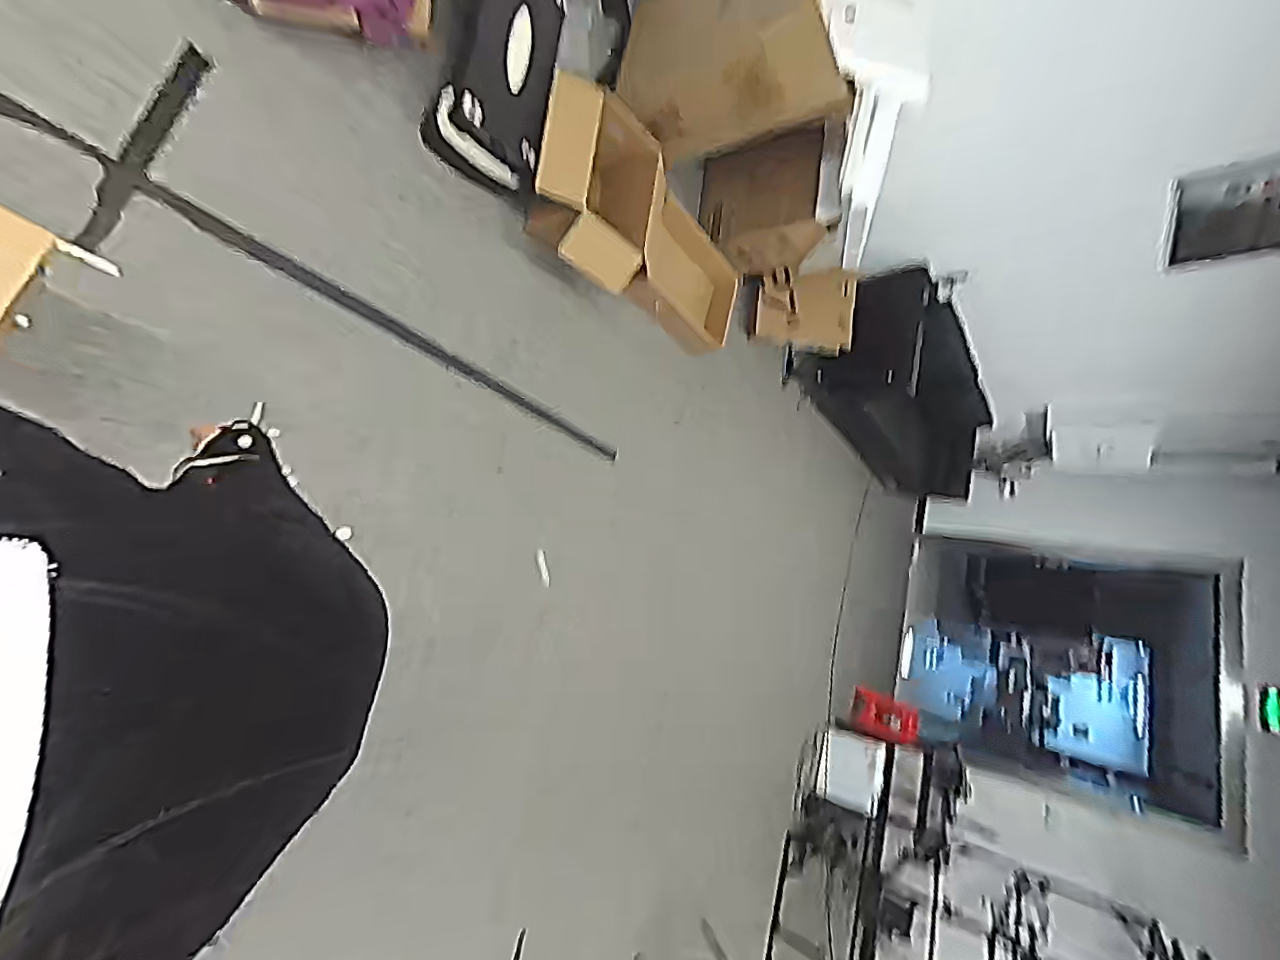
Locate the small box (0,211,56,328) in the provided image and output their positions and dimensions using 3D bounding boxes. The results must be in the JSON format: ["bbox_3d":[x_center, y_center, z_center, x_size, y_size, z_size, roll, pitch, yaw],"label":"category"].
[{"bbox_3d":[-1.016,-0.319,0.786,0.168,0.176,0.179,35,66,-45],"label":"small box"}]

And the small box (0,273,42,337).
[{"bbox_3d":[-1.149,-0.324,0.885,0.179,0.176,0.168,36,66,-46],"label":"small box"}]
